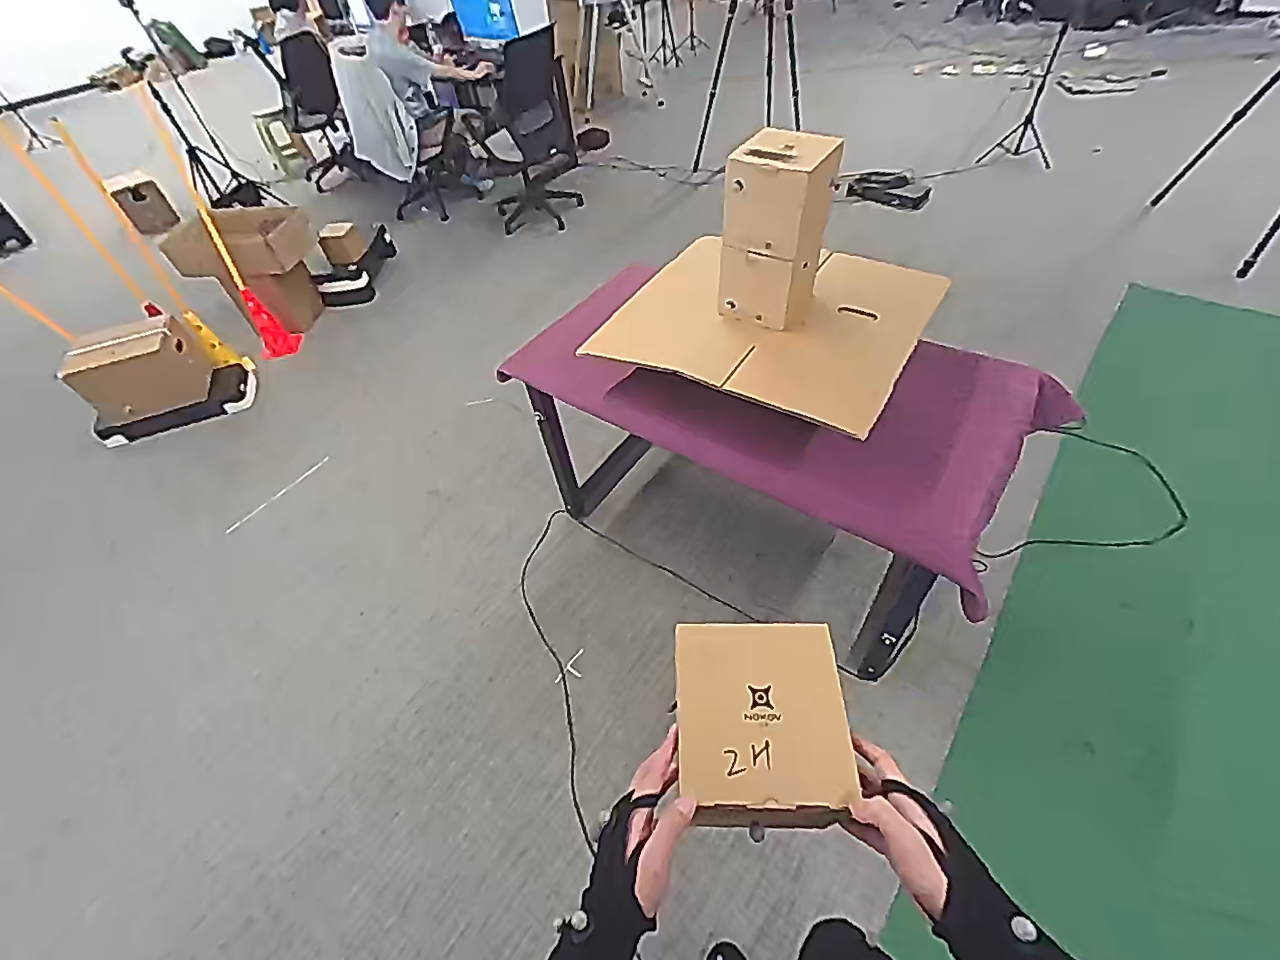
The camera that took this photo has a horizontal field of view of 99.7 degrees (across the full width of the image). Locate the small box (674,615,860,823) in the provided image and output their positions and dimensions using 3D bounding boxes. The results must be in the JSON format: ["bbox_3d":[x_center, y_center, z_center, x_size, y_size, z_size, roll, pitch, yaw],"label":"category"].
[{"bbox_3d":[0.121,0.265,0.596,0.168,0.176,0.179,-1,53,4],"label":"small box"}]

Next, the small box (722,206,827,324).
[{"bbox_3d":[0.293,-0.475,1.202,0.168,0.176,0.179,25,57,23],"label":"small box"}]
